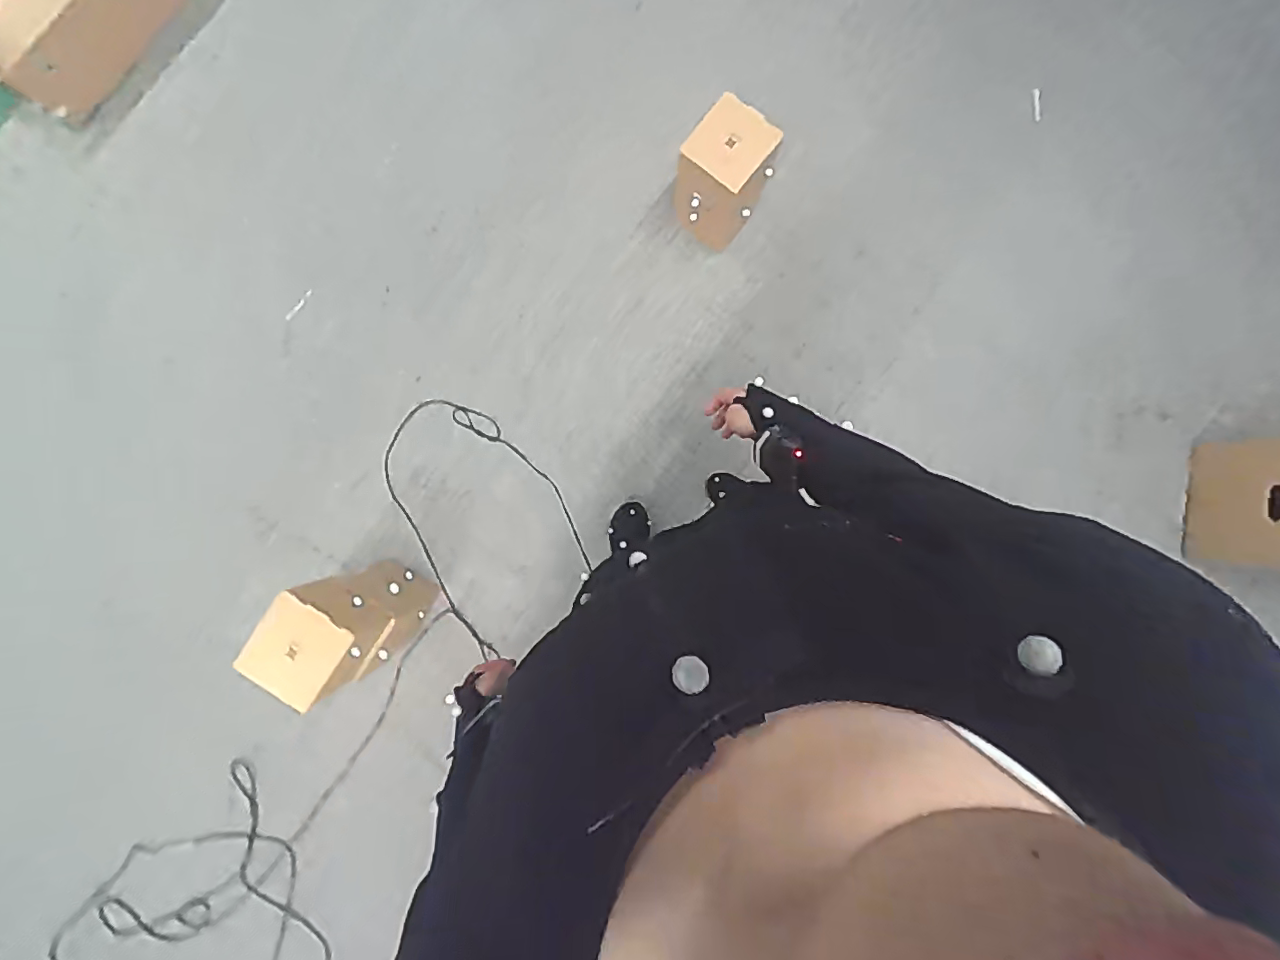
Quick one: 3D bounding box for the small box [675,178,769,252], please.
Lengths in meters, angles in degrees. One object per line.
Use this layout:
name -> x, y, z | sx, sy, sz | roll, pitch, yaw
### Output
small box -> 0.207, -0.745, 1.434 | 0.179, 0.176, 0.168 | 39, 89, 2

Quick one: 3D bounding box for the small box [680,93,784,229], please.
small box -> 0.205, -0.738, 1.271 | 0.168, 0.176, 0.179 | 39, 90, 3

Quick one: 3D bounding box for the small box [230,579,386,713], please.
small box -> -0.650, 0.322, 1.083 | 0.168, 0.176, 0.179 | 33, 88, 1

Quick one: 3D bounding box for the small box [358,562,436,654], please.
small box -> -0.661, 0.331, 1.409 | 0.168, 0.176, 0.179 | 30, 89, 2

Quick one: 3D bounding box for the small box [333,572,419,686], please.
small box -> -0.646, 0.333, 1.245 | 0.168, 0.176, 0.179 | 34, 88, 1
